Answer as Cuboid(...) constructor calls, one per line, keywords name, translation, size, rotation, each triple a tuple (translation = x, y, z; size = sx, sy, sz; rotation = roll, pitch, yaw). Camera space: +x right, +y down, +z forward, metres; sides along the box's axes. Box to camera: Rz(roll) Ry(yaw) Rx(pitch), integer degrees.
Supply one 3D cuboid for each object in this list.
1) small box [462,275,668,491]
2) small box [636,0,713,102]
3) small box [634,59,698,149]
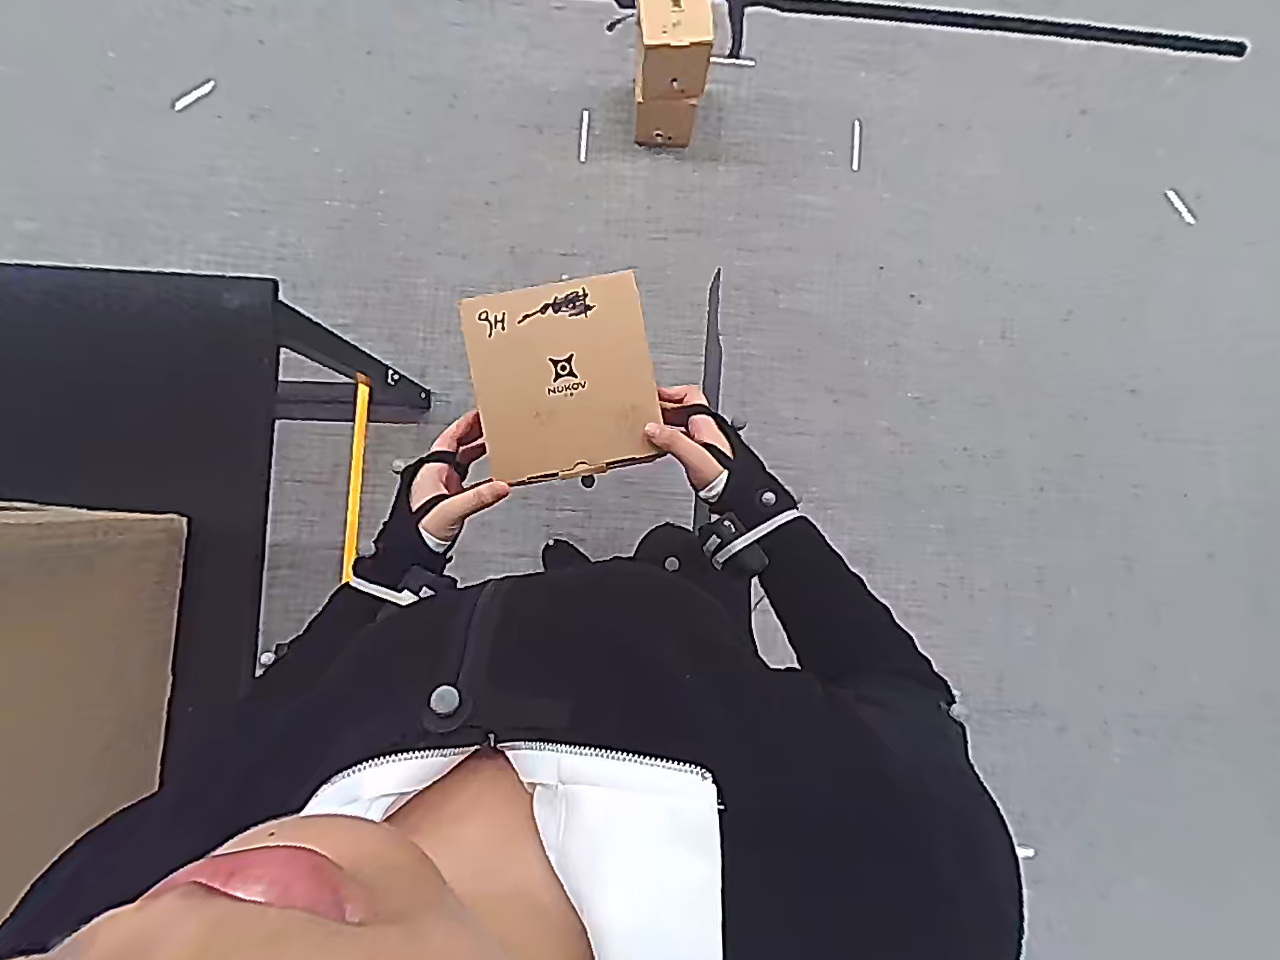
Cuboid(name="small box", translation=(-0.069, -0.091, 0.574), size=(0.168, 0.176, 0.179), rotation=(-11, 92, -2))
Cuboid(name="small box", translation=(0.079, -1.075, 1.328), size=(0.168, 0.176, 0.179), rotation=(-5, 87, -2))
Cuboid(name="small box", translation=(0.069, -1.054, 1.492), size=(0.168, 0.176, 0.179), rotation=(0, 88, -2))
